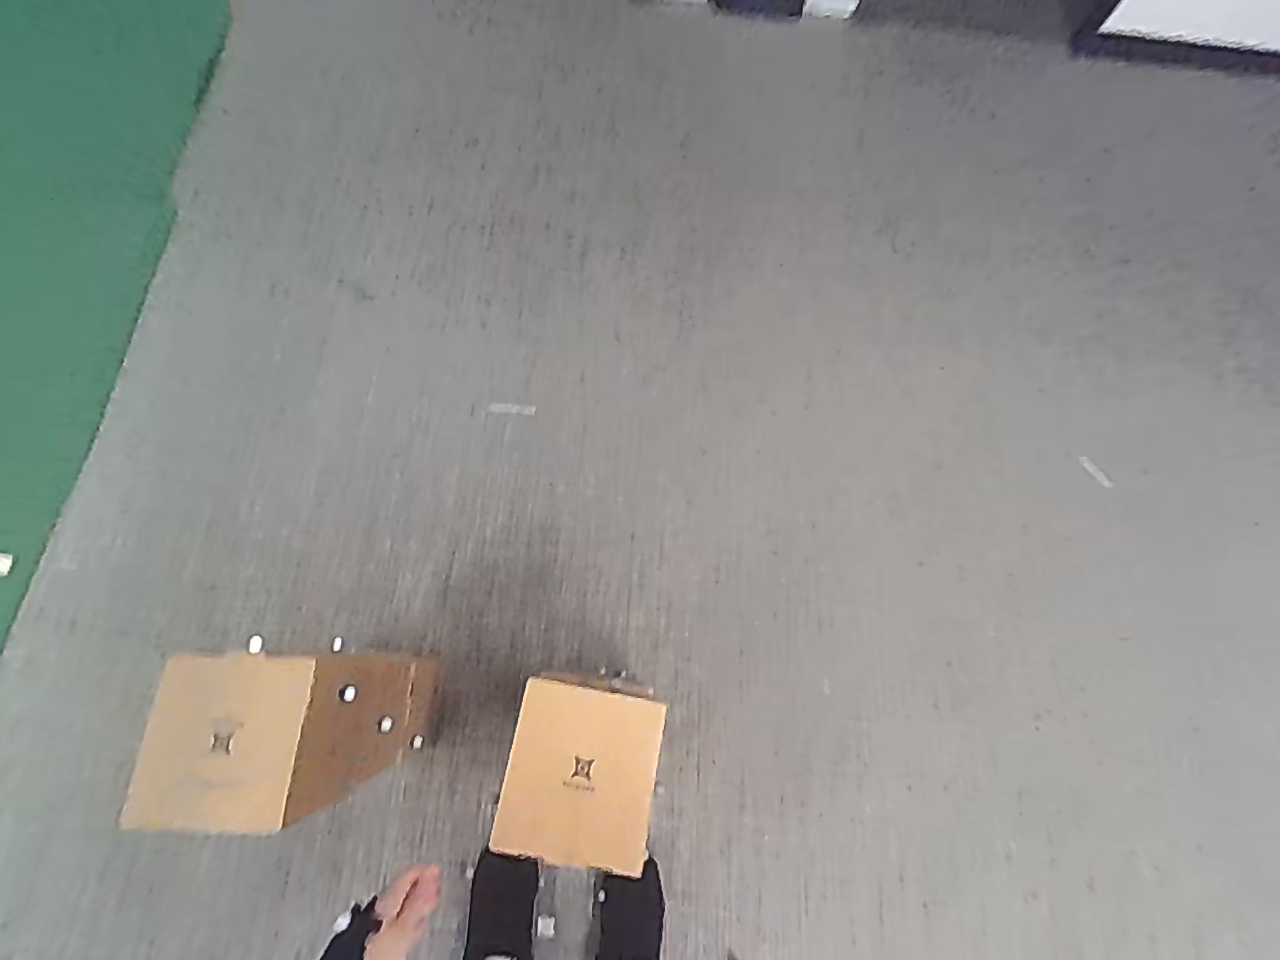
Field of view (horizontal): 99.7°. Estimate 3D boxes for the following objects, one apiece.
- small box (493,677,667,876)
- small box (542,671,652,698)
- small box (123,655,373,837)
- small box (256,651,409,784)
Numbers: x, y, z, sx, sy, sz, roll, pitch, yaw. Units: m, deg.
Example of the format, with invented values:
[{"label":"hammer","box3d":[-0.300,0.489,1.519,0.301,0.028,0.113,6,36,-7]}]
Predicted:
[{"label":"small box","box3d":[-0.070,0.350,0.673,0.168,0.176,0.179,11,72,-2]},{"label":"small box","box3d":[-0.080,0.395,0.830,0.168,0.176,0.179,8,72,-2]},{"label":"small box","box3d":[-0.447,0.306,0.654,0.168,0.176,0.179,2,73,-3]},{"label":"small box","box3d":[-0.462,0.351,0.809,0.168,0.176,0.179,1,73,-4]}]
